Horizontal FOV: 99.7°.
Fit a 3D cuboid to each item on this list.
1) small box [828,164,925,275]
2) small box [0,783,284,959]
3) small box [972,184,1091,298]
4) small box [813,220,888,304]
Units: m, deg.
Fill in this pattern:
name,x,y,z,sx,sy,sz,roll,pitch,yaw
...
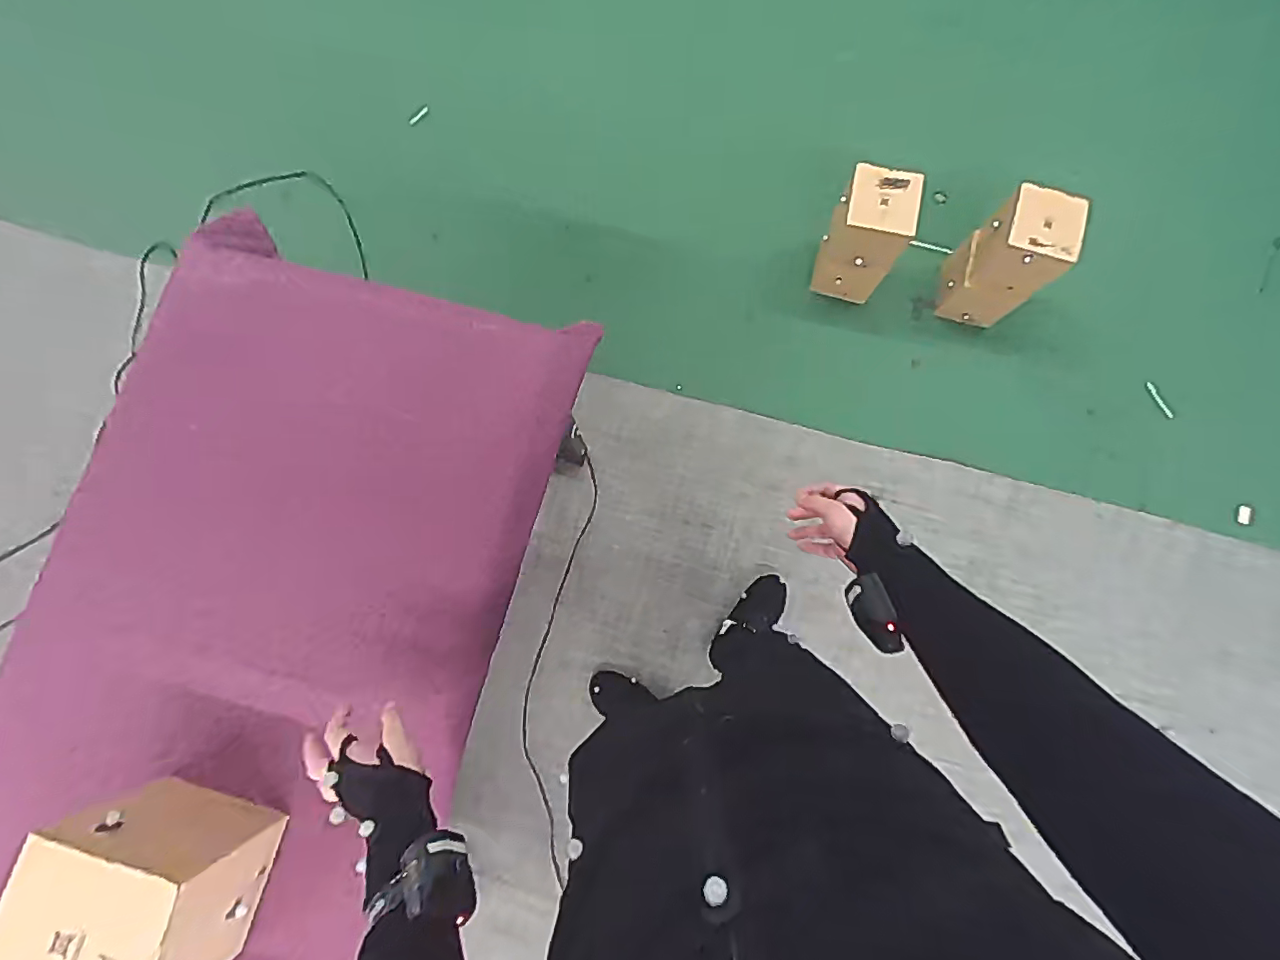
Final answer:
name,x,y,z,sx,sy,sz,roll,pitch,yaw
small box,0.596,-0.659,1.379,0.168,0.176,0.179,13,81,4
small box,-0.561,0.471,0.612,0.179,0.176,0.168,16,80,3
small box,0.975,-0.594,1.361,0.168,0.176,0.179,19,80,4
small box,0.608,-0.632,1.541,0.168,0.176,0.179,16,79,4
